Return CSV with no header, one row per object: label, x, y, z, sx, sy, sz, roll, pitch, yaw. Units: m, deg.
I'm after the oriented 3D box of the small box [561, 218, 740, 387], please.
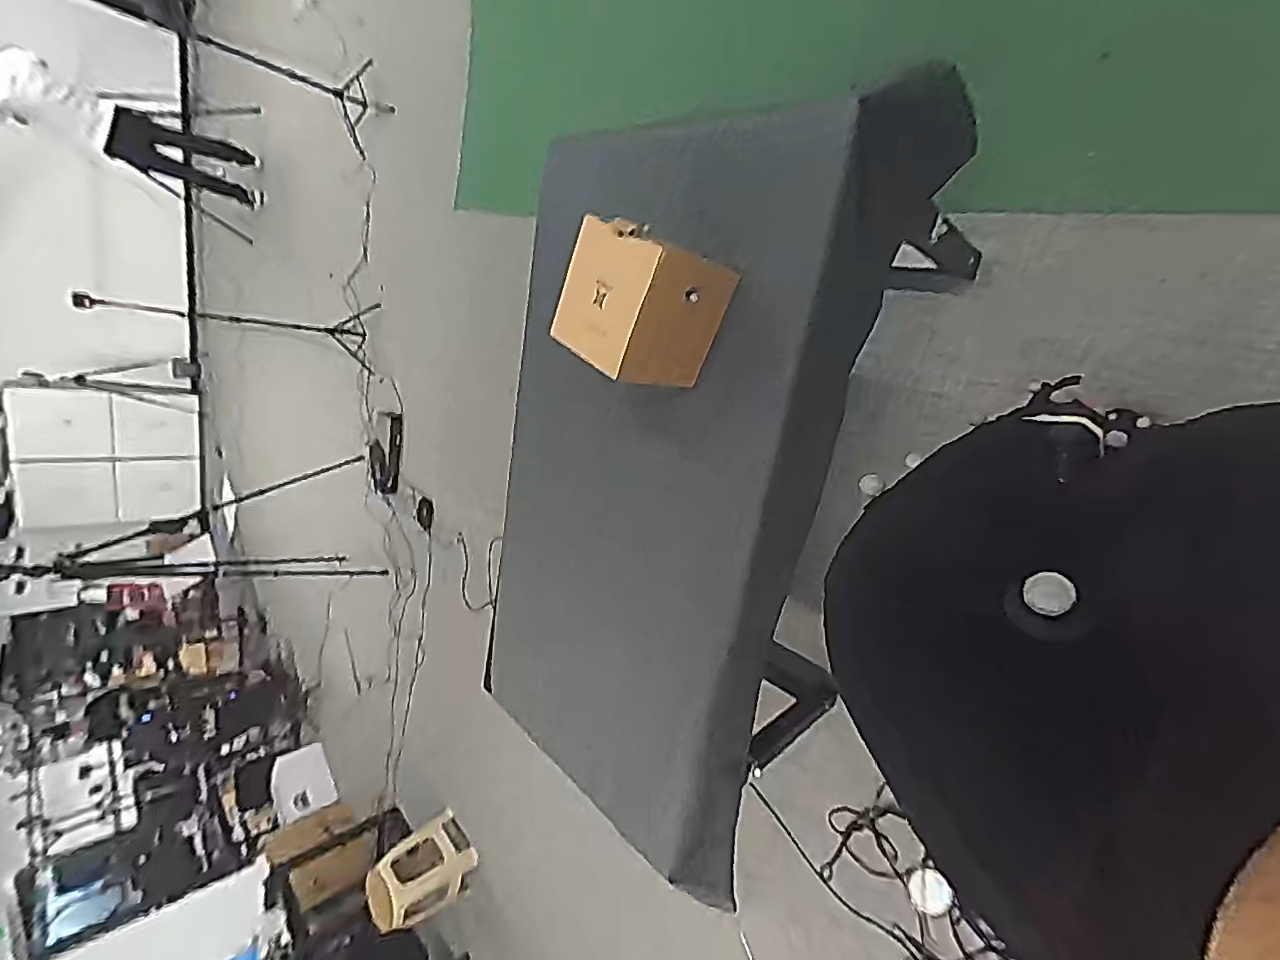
small box,0.018,-0.249,0.783,0.168,0.176,0.179,40,121,35
